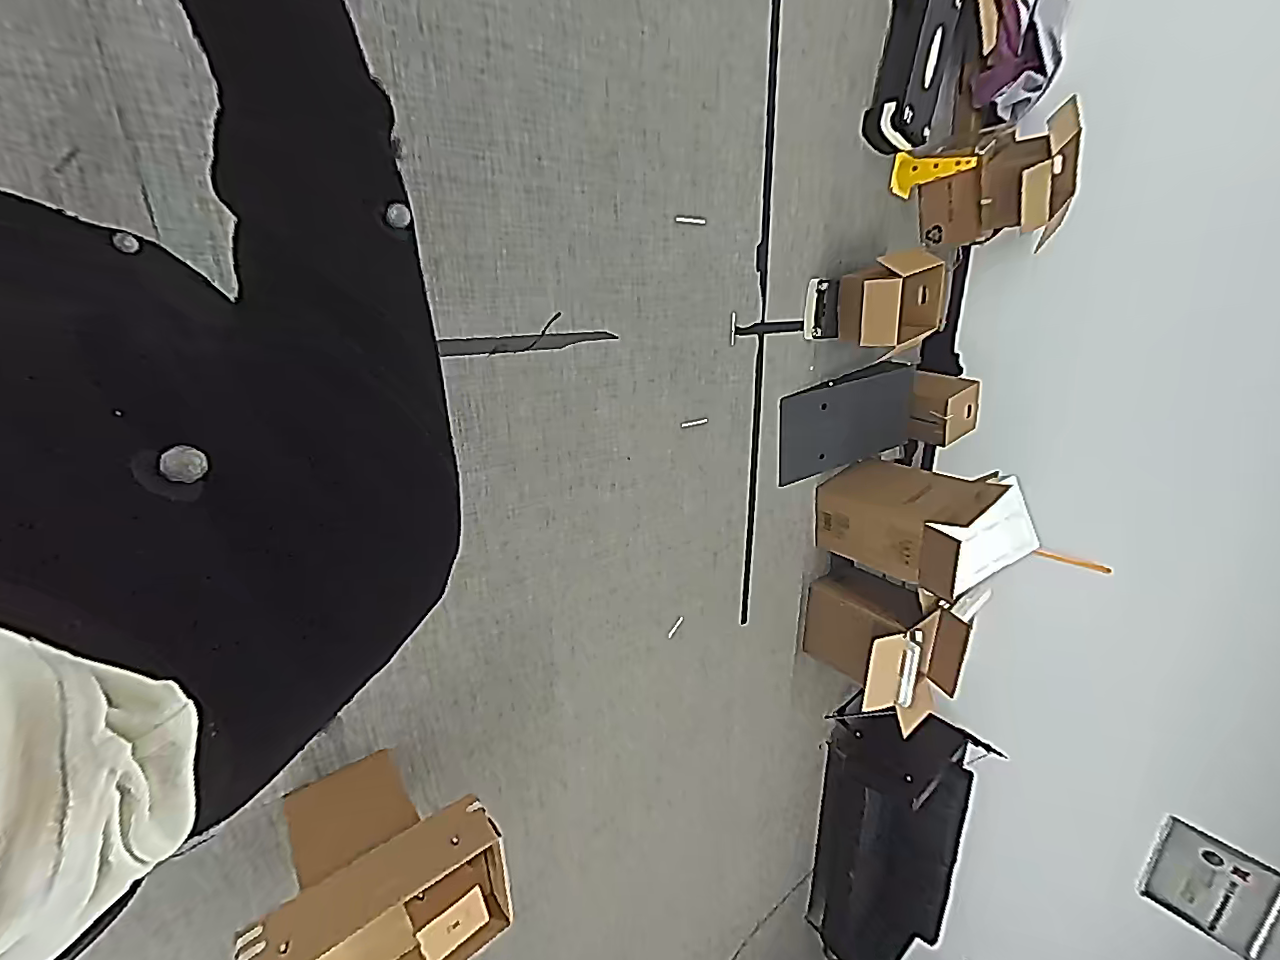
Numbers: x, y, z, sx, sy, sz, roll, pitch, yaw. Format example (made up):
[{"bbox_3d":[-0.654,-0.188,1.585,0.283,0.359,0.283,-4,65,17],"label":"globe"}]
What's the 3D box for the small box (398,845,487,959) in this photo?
[{"bbox_3d":[-0.555,1.181,1.503,0.179,0.176,0.168,-22,119,-35],"label":"small box"}]
